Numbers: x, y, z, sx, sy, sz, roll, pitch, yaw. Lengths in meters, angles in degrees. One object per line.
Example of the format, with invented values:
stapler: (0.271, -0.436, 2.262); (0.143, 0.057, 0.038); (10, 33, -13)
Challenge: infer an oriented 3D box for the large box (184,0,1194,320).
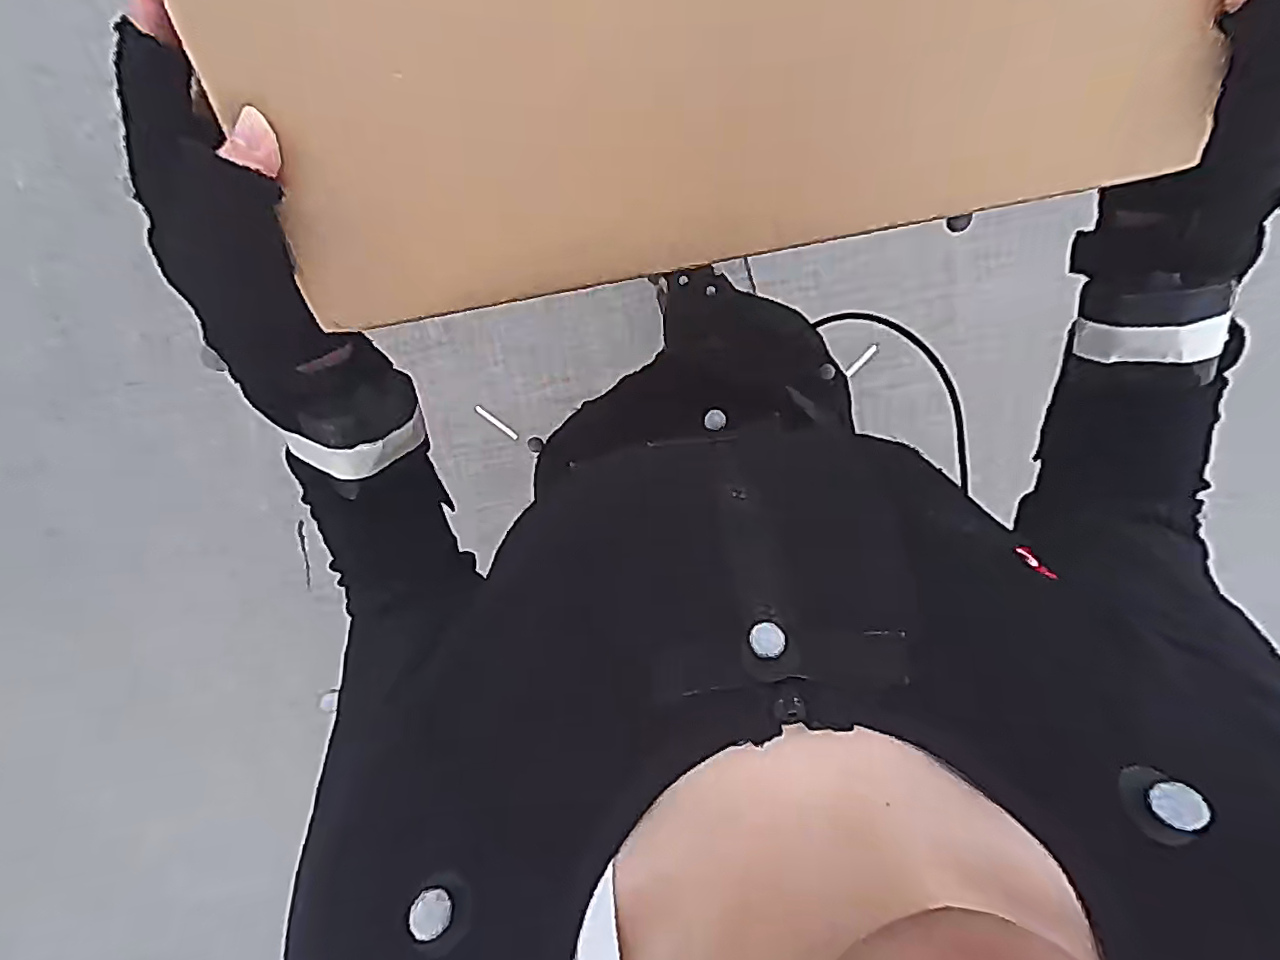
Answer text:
large box: (0.010, -0.319, 0.311); (0.408, 0.320, 0.320); (-10, 119, 3)
